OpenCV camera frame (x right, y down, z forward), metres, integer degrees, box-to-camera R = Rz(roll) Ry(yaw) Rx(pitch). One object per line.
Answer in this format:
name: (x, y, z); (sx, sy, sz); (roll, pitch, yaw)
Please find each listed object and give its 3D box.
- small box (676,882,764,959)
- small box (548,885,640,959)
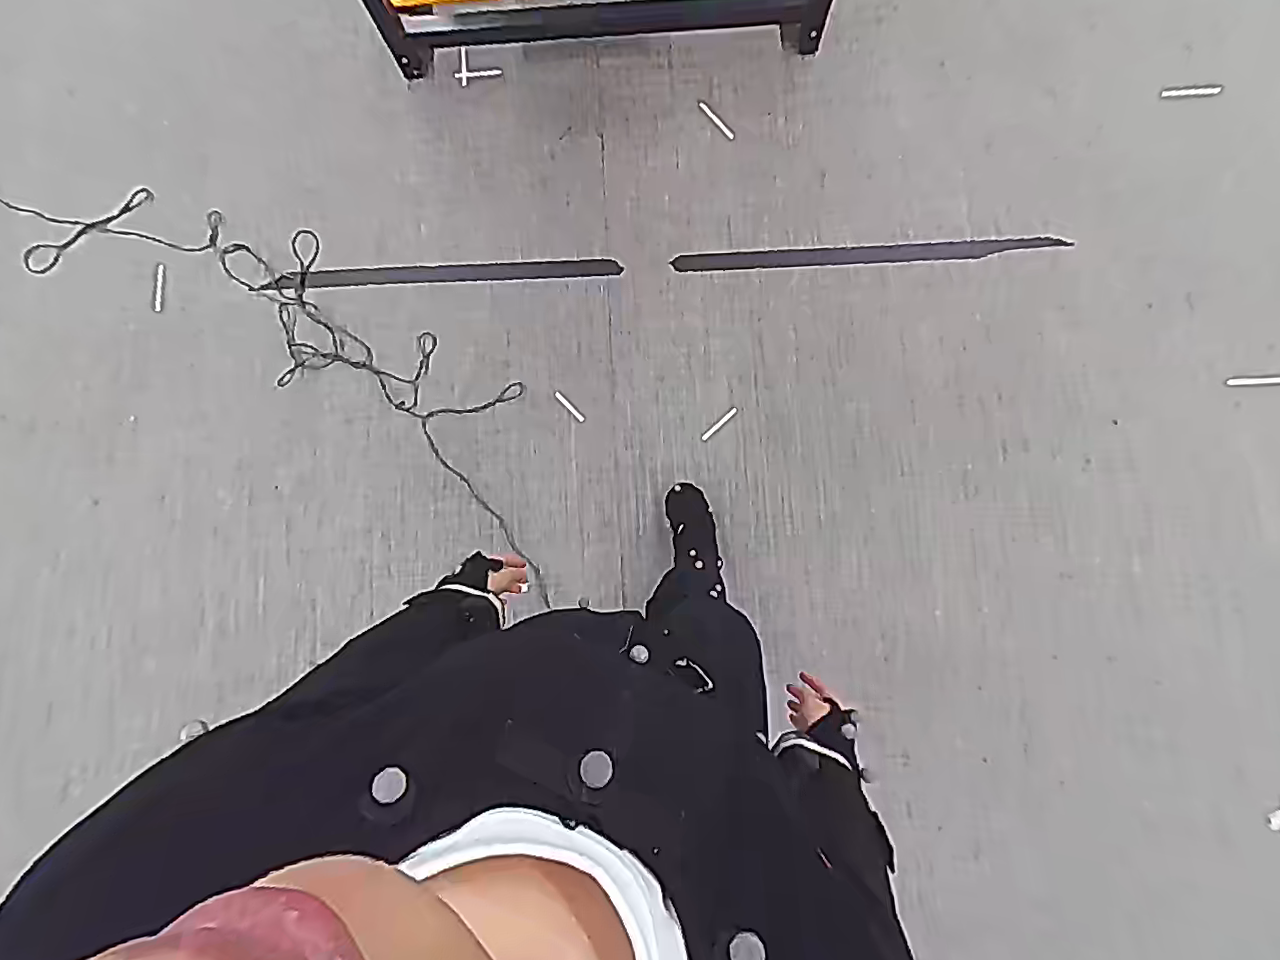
small box: (0.173, 1.027, 1.193); (0.179, 0.176, 0.168); (-2, 83, 2)
small box: (-0.096, 1.045, 1.206); (0.179, 0.176, 0.168); (-7, 83, 1)
